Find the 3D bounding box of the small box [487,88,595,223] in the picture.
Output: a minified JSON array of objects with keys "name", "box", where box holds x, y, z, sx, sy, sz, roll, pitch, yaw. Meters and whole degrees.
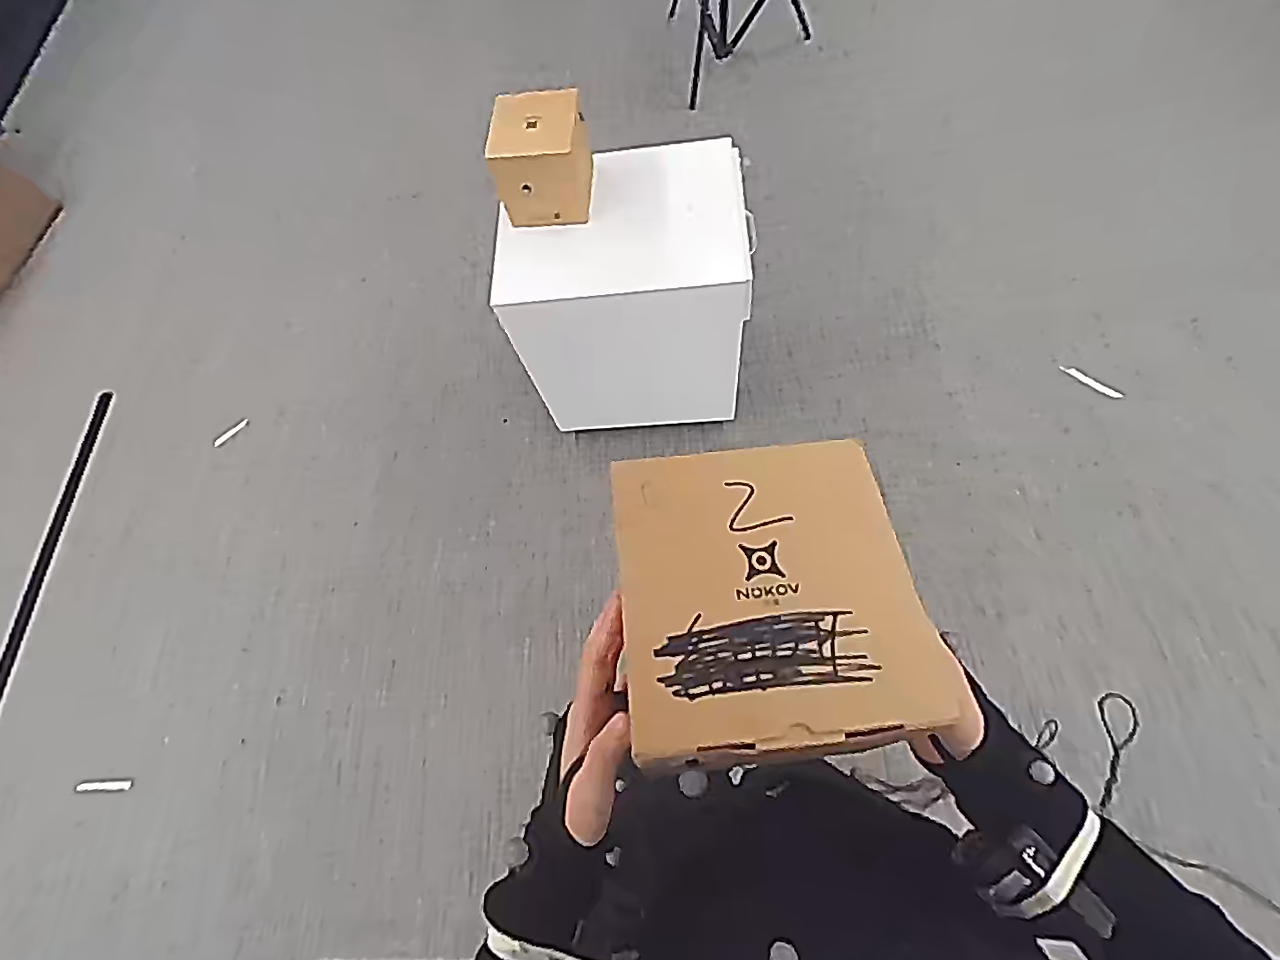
[{"name":"small box","box":[-0.189,-0.642,1.089,0.168,0.176,0.179,0,68,7]}]
